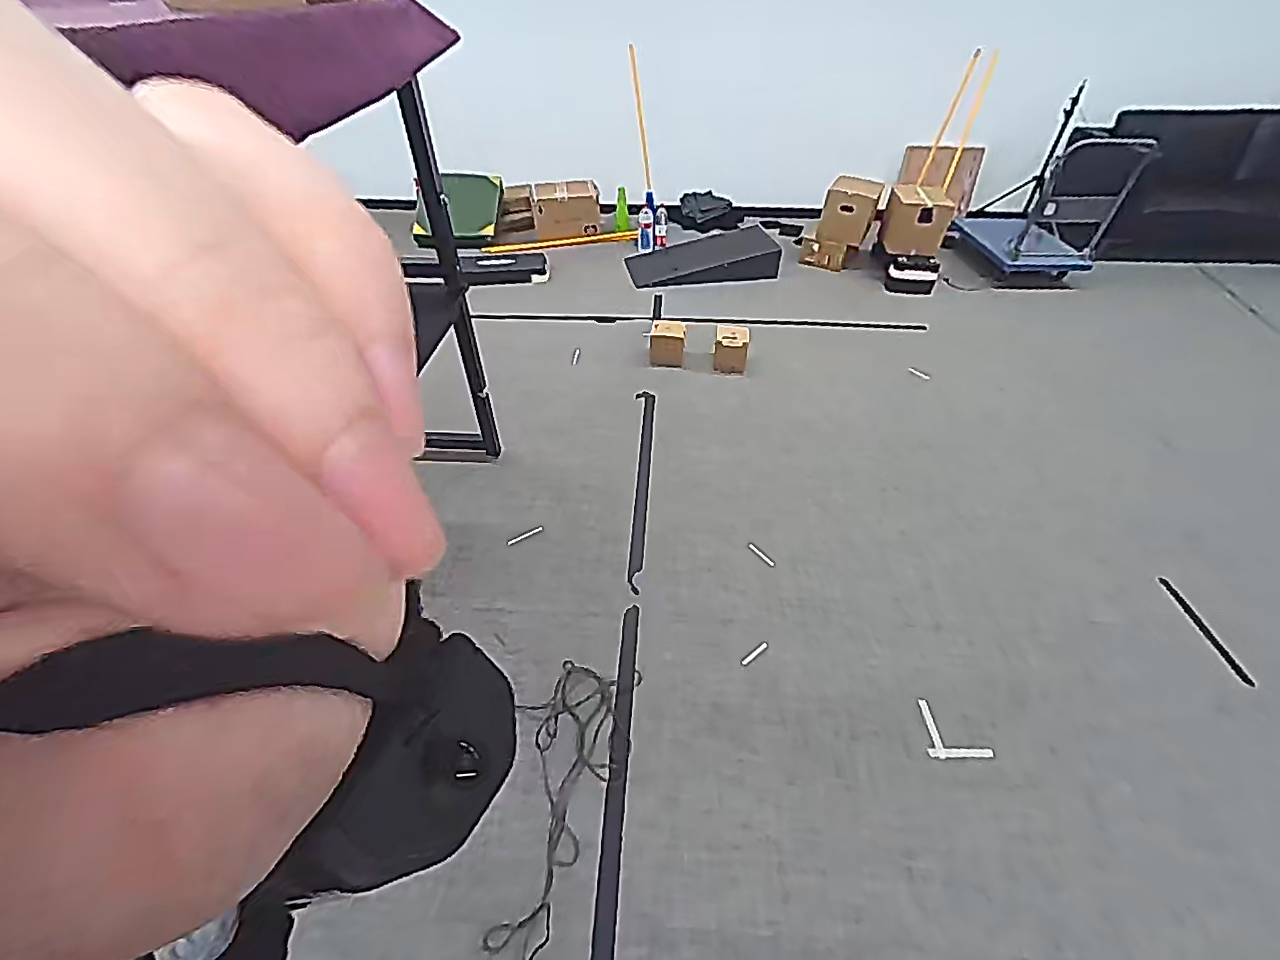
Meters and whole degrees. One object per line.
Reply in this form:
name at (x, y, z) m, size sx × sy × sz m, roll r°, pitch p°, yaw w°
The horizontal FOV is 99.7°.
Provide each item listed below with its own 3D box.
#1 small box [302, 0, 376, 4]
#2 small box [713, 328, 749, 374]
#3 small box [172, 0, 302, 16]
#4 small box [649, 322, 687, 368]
small box at (-0.706, -1.144, 1.169) m, size 0.179 × 0.176 × 0.168 m, roll -2°, pitch 44°, yaw -1°
small box at (0.478, -0.675, 2.830) m, size 0.168 × 0.176 × 0.179 m, roll 7°, pitch 43°, yaw 6°
small box at (-0.736, -0.934, 0.950) m, size 0.168 × 0.176 × 0.179 m, roll 4°, pitch 44°, yaw 6°
small box at (0.149, -0.712, 2.860) m, size 0.179 × 0.176 × 0.168 m, roll 7°, pitch 43°, yaw 5°
